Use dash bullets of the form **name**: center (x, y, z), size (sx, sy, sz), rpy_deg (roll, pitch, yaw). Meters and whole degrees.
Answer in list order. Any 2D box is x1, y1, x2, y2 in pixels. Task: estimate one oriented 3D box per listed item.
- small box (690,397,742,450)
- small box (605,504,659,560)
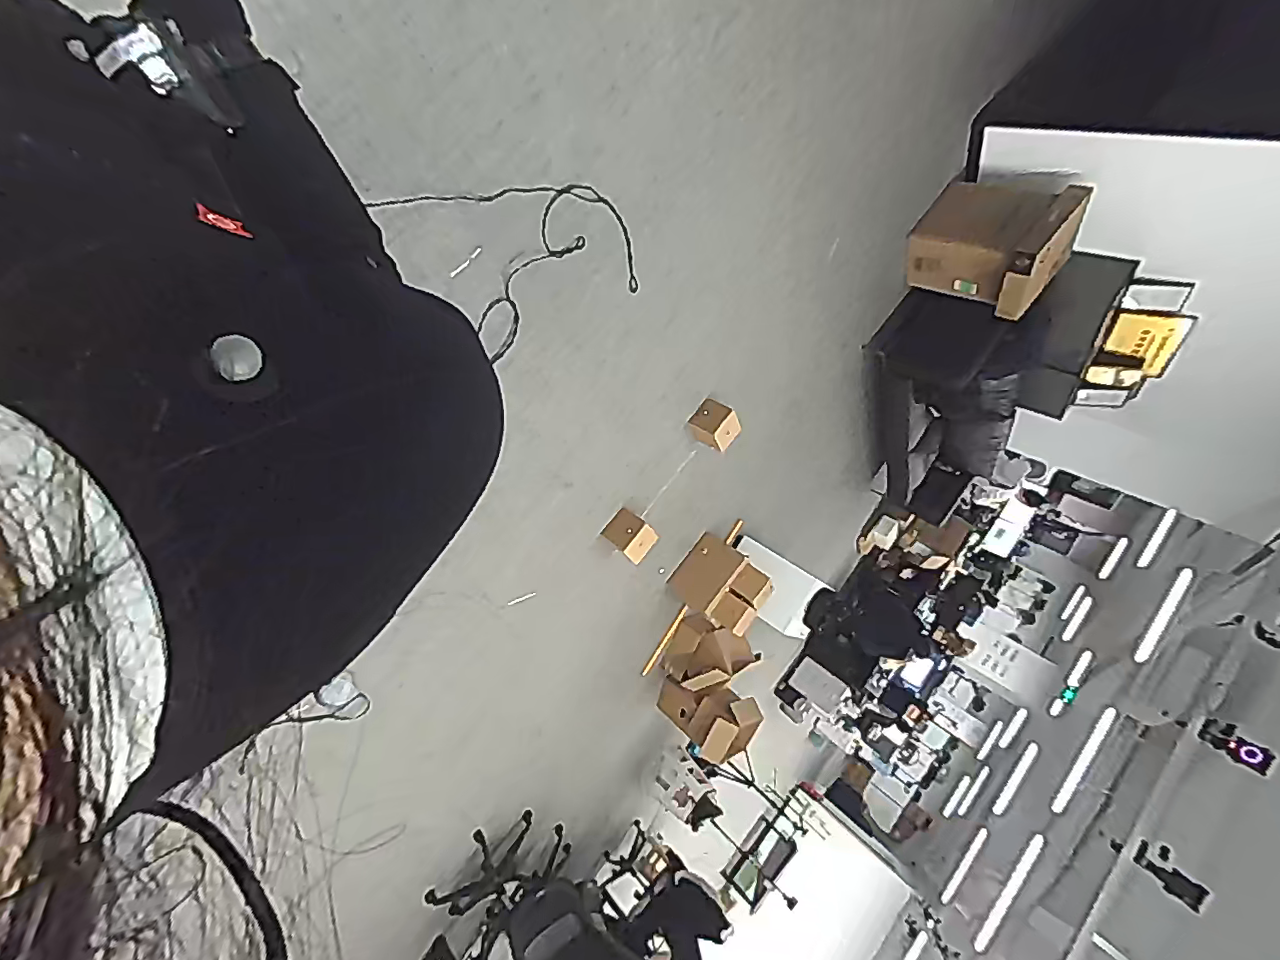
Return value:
- **small box**: center (0.376, -0.284, 2.677), size (0.168, 0.176, 0.179), rpy_deg (-51, 144, -10)
- **small box**: center (-0.047, 0.246, 2.577), size (0.179, 0.176, 0.168), rpy_deg (-51, 144, -10)
